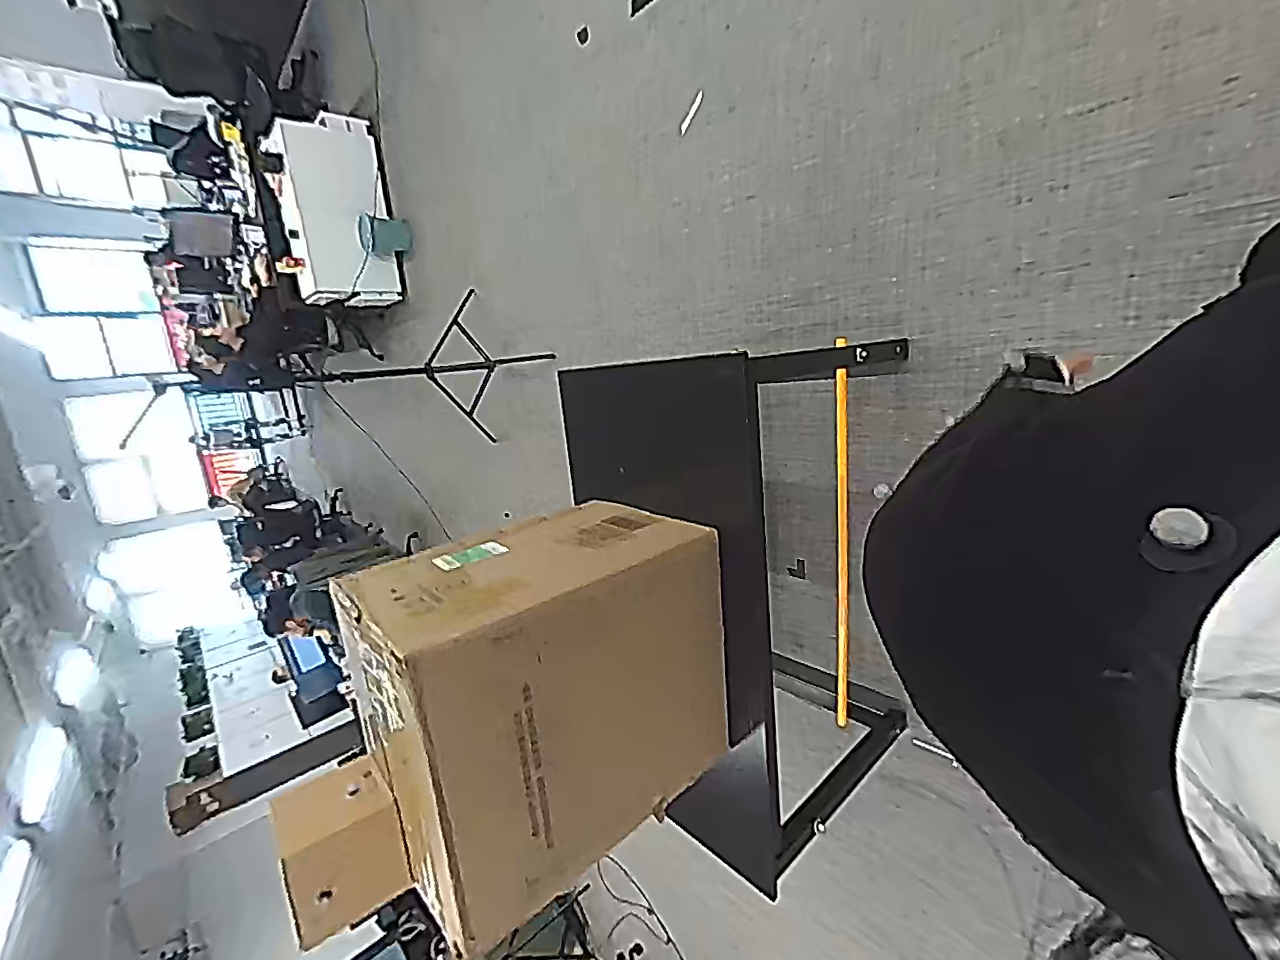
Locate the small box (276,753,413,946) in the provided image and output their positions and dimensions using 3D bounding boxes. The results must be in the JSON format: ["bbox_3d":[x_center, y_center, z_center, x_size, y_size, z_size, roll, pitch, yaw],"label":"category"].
[{"bbox_3d":[-0.505,0.620,0.933,0.168,0.176,0.179,10,109,50],"label":"small box"}]
